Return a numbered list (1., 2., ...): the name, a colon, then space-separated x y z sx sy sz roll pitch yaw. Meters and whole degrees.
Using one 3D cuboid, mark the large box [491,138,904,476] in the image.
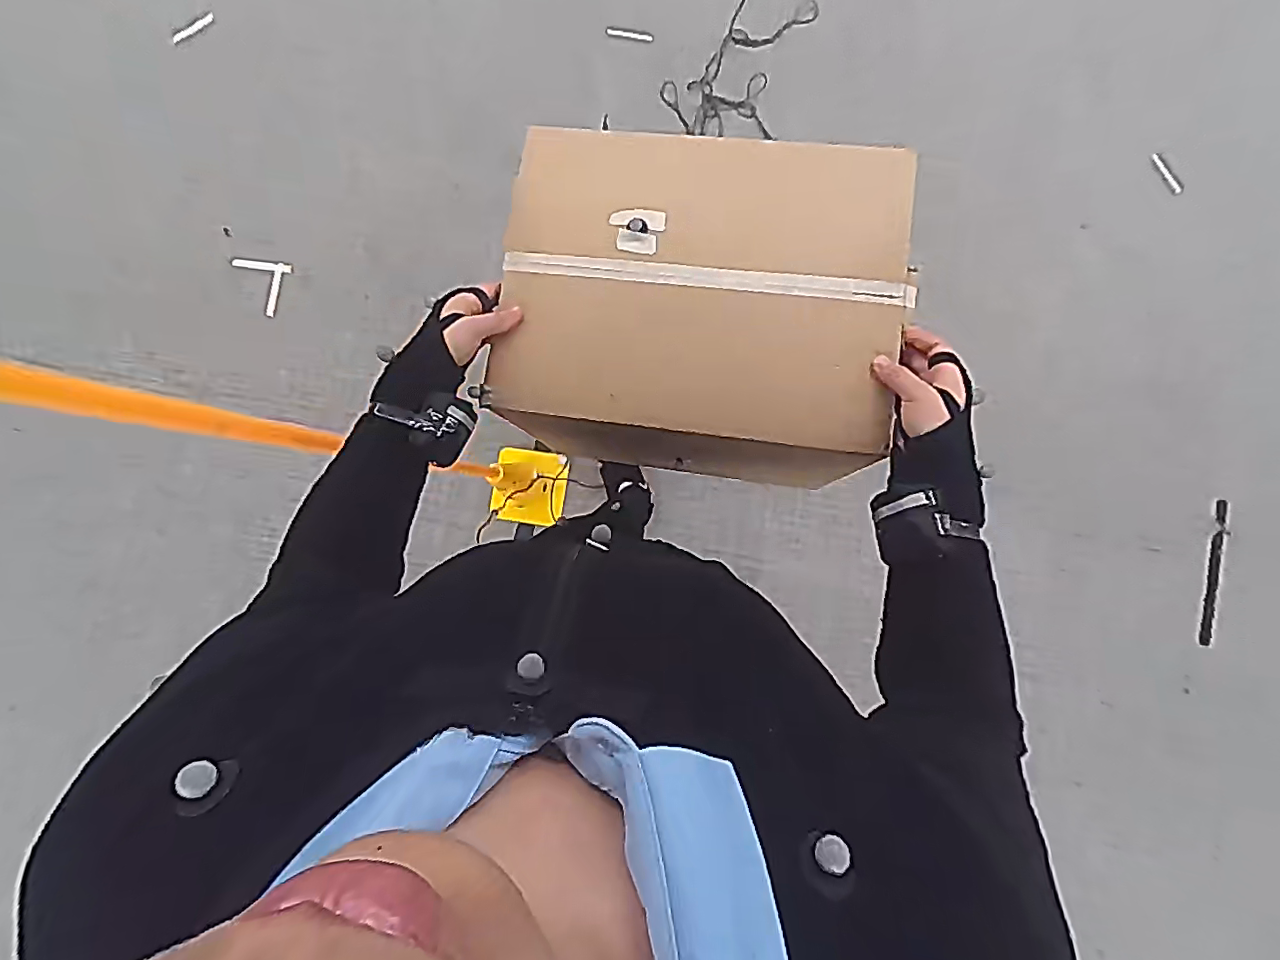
1. large box: 0.076 -0.190 0.703 0.408 0.320 0.320 7 83 8
